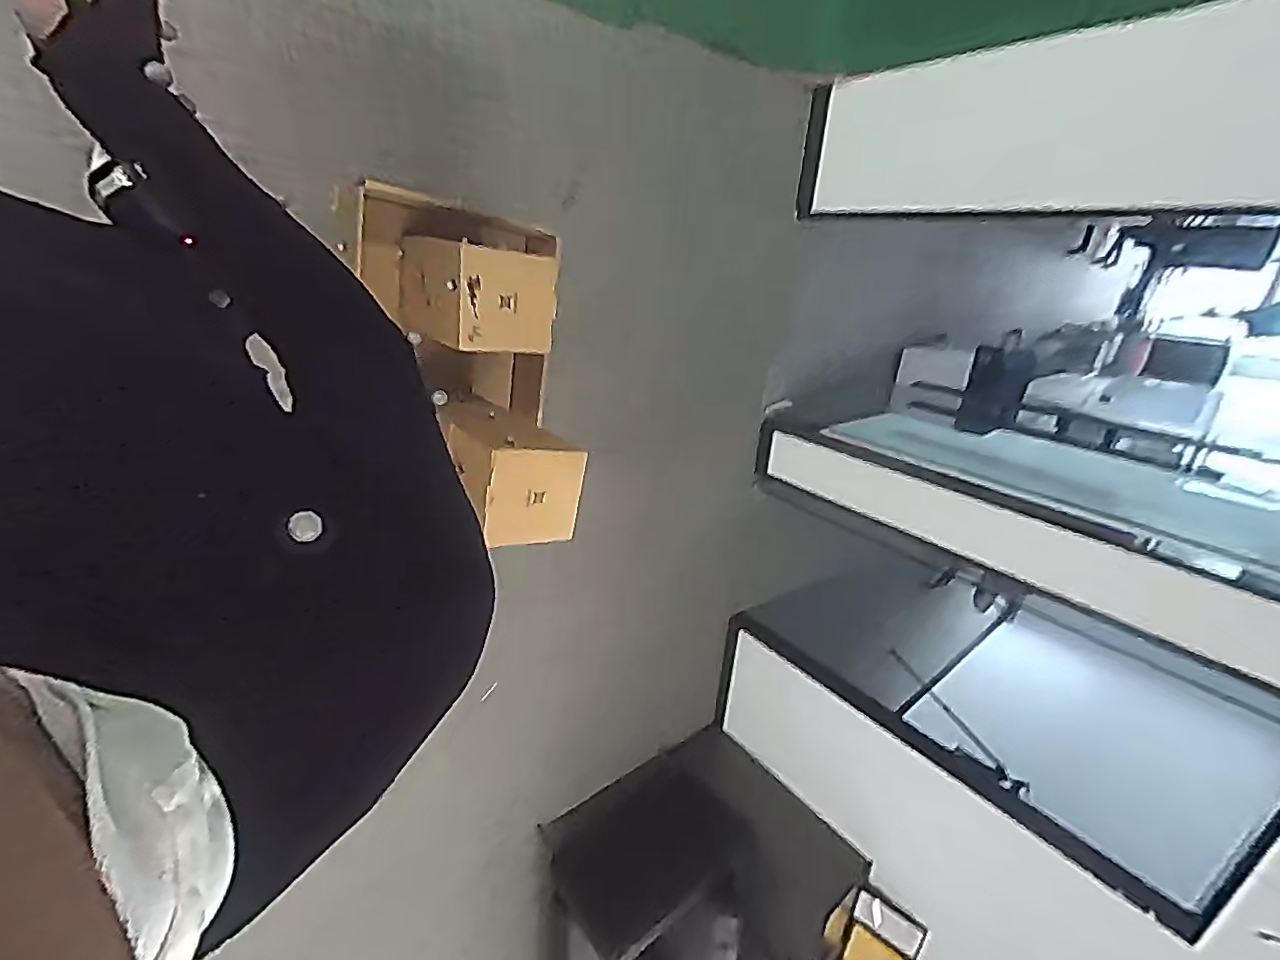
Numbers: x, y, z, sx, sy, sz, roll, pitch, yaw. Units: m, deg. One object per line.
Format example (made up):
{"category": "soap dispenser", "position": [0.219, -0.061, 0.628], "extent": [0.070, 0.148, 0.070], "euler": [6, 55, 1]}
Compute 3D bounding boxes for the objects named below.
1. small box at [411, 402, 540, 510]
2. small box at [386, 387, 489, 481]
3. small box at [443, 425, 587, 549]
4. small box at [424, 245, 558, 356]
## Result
{"category": "small box", "position": [-0.325, -0.051, 1.061], "extent": [0.179, 0.176, 0.168], "euler": [-1, 110, -42]}
{"category": "small box", "position": [-0.429, -0.101, 1.177], "extent": [0.179, 0.176, 0.168], "euler": [0, 109, -42]}
{"category": "small box", "position": [-0.222, 0.005, 0.950], "extent": [0.179, 0.176, 0.168], "euler": [-1, 110, -41]}
{"category": "small box", "position": [-0.271, -0.324, 0.976], "extent": [0.179, 0.176, 0.168], "euler": [-9, 115, -40]}
